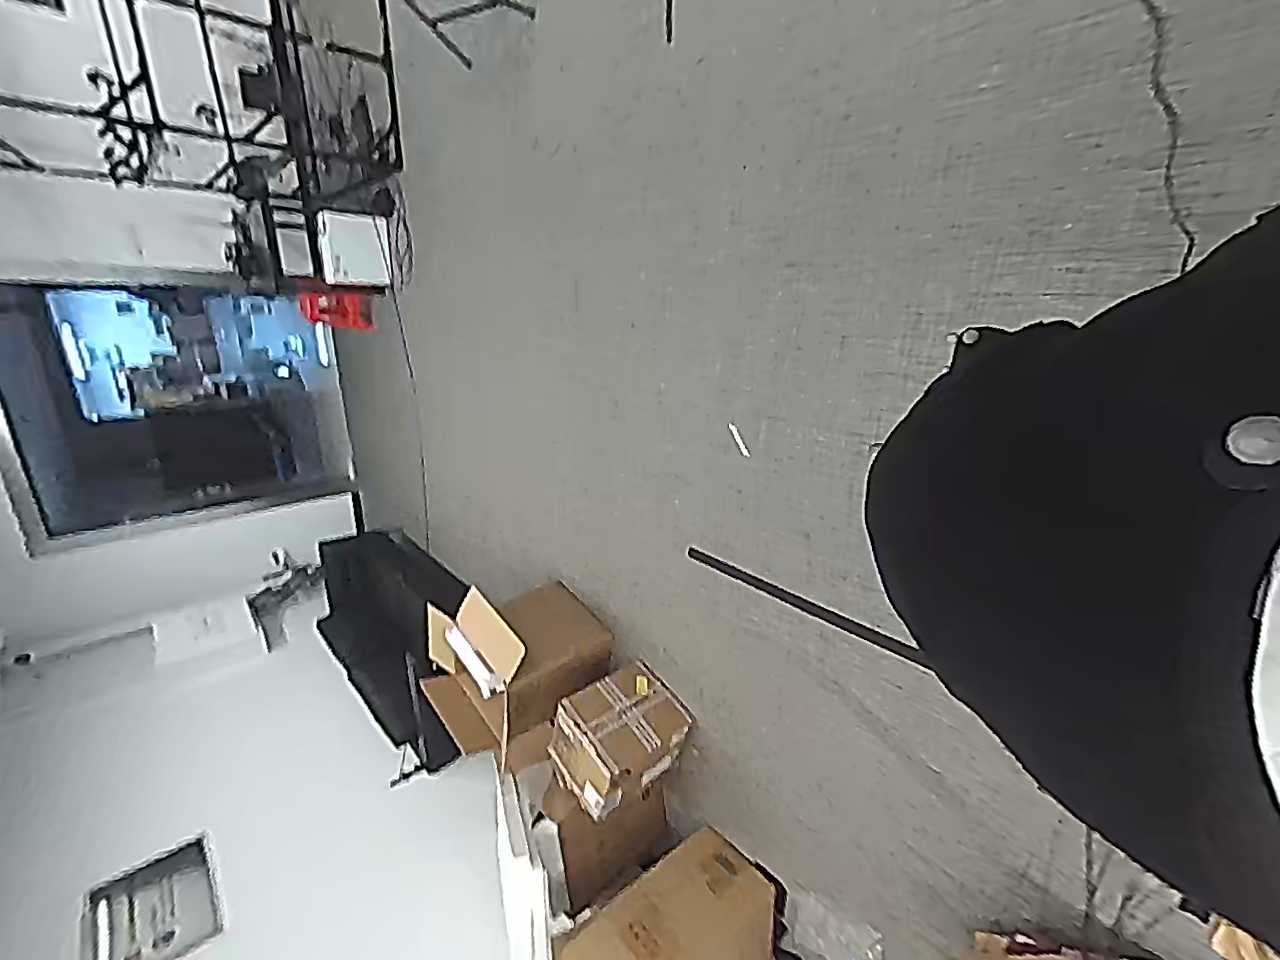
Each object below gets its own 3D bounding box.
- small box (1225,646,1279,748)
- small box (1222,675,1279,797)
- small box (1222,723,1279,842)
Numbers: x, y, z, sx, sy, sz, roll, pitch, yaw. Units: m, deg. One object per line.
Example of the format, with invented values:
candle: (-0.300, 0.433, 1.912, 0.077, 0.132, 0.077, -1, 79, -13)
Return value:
small box: (1.217, 0.430, 0.980, 0.179, 0.176, 0.168, 21, 116, 44)
small box: (1.094, 0.456, 0.874, 0.168, 0.176, 0.179, 21, 115, 44)
small box: (0.973, 0.489, 0.771, 0.168, 0.176, 0.179, 20, 117, 45)
